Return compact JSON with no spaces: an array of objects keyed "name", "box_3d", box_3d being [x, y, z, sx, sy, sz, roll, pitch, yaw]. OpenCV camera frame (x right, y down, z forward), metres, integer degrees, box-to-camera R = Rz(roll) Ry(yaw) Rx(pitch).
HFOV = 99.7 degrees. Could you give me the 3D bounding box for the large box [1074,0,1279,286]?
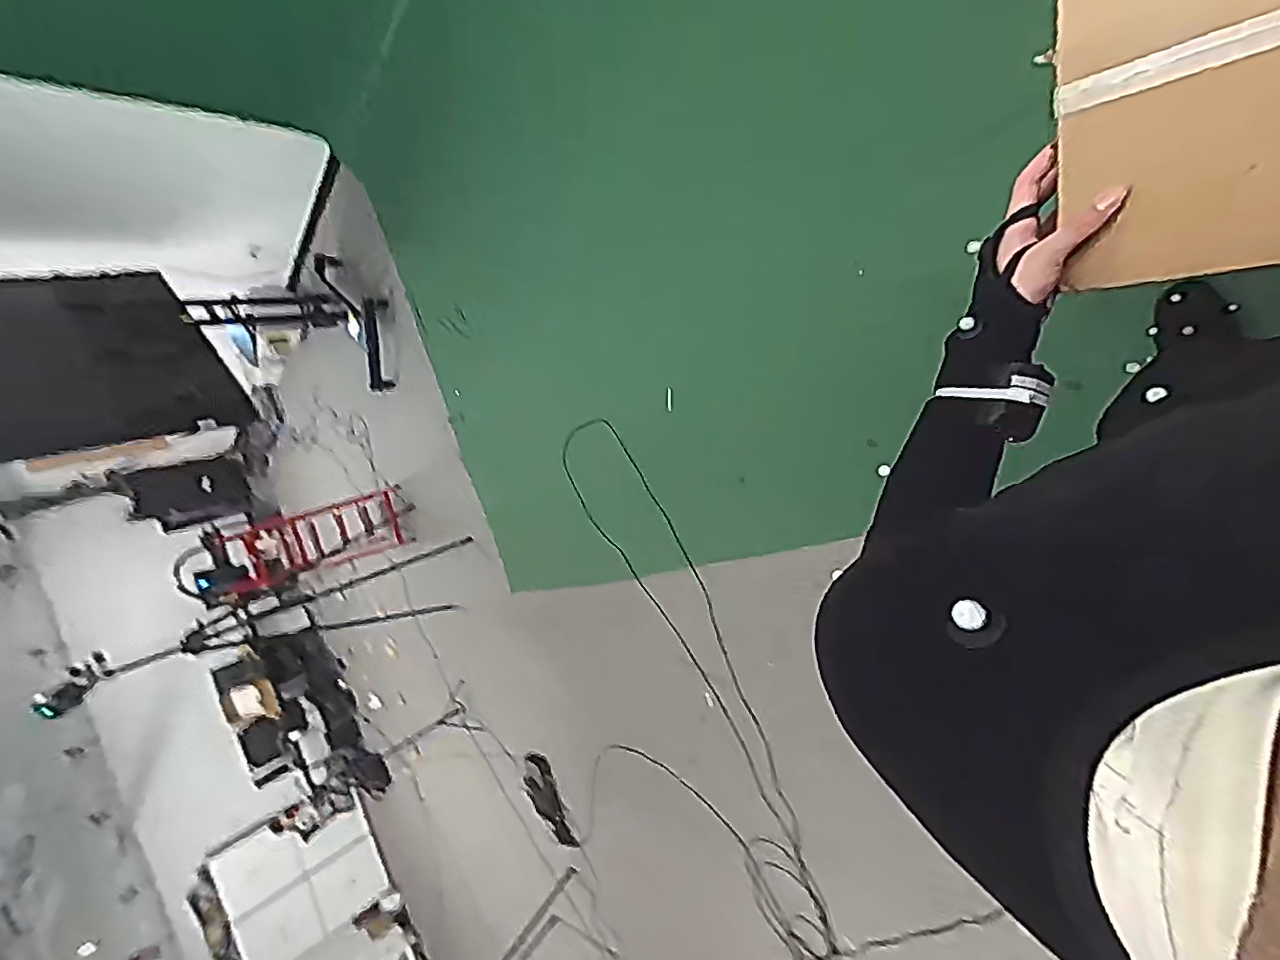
[{"name":"large box","box_3d":[0.593,-0.366,0.397,0.408,0.320,0.320,5,120,44]}]
